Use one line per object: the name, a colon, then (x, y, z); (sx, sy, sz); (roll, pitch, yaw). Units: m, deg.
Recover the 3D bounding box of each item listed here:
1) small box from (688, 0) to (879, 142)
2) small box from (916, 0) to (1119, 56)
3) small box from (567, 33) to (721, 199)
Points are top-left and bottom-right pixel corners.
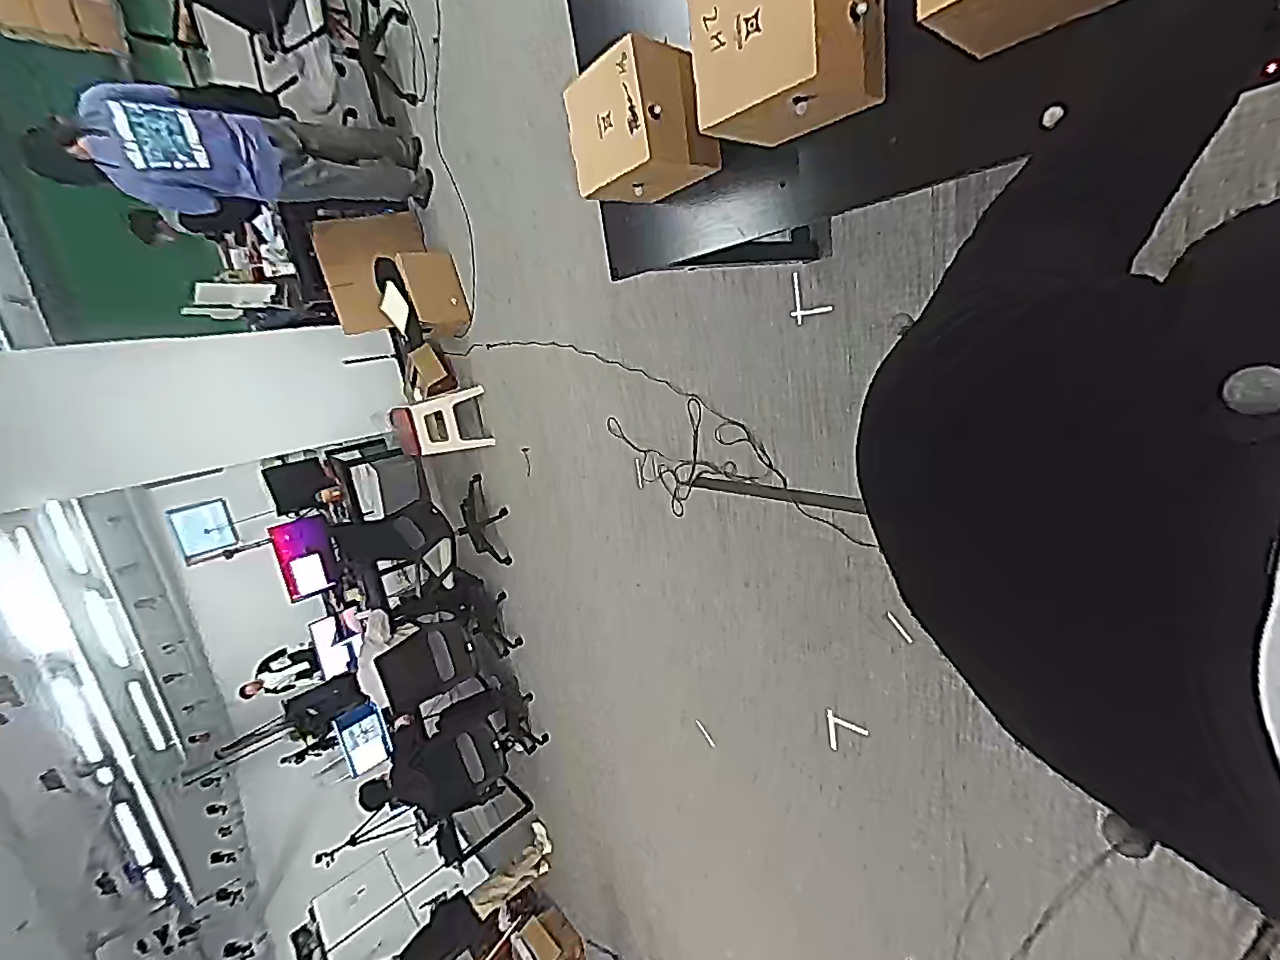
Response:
small box: (0.186, -0.550, 0.681); (0.179, 0.176, 0.168); (10, 113, 48)
small box: (0.368, -0.522, 0.478); (0.179, 0.176, 0.168); (9, 111, 49)
small box: (0.007, -0.575, 0.886); (0.179, 0.176, 0.168); (5, 110, 50)
